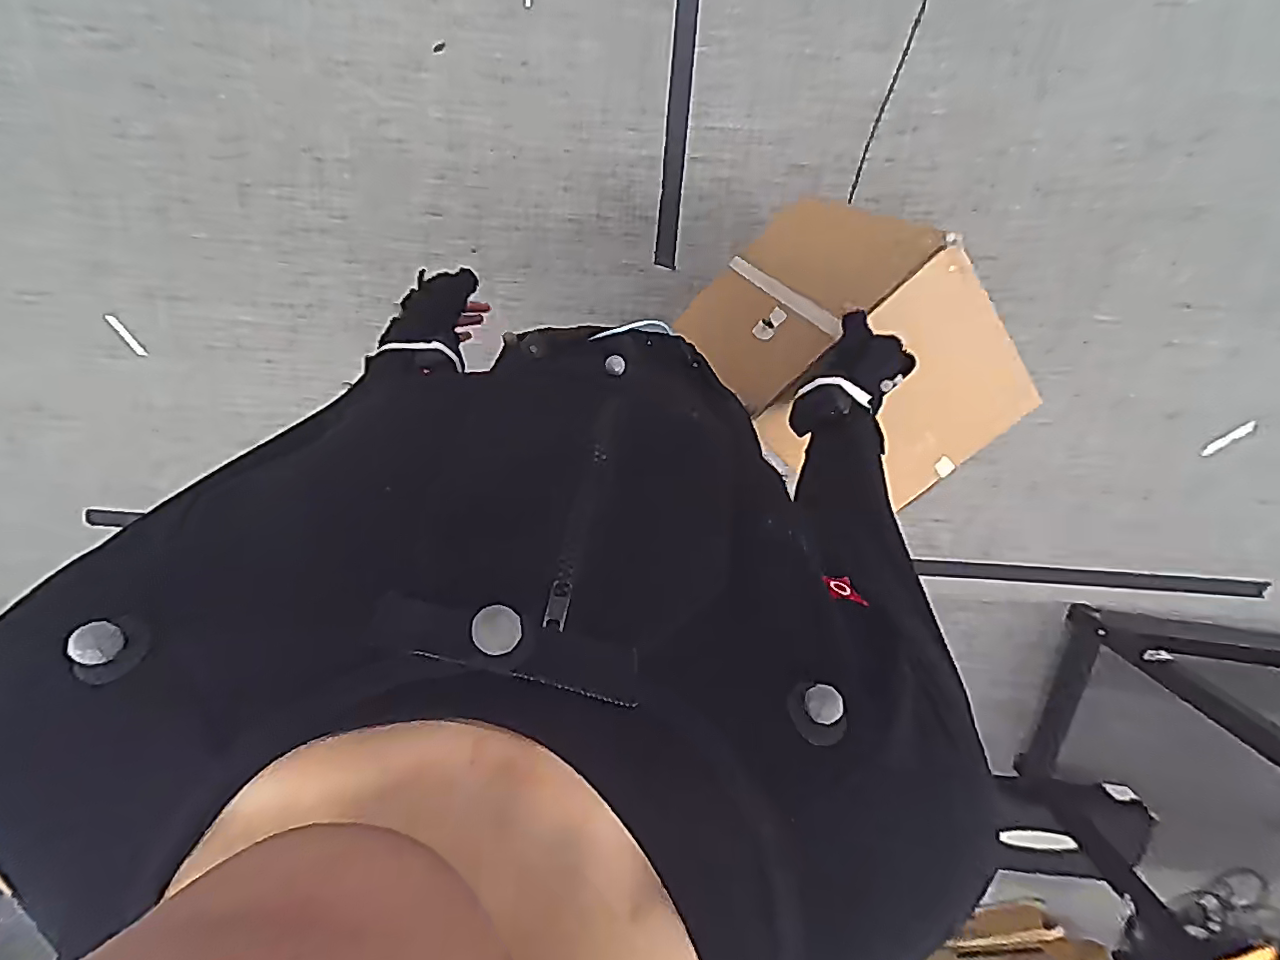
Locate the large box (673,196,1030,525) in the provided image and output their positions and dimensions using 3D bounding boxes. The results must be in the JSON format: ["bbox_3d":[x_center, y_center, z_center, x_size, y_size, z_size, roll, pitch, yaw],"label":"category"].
[{"bbox_3d":[0.310,-0.205,0.886,0.320,0.408,0.320,36,109,-32],"label":"large box"}]
